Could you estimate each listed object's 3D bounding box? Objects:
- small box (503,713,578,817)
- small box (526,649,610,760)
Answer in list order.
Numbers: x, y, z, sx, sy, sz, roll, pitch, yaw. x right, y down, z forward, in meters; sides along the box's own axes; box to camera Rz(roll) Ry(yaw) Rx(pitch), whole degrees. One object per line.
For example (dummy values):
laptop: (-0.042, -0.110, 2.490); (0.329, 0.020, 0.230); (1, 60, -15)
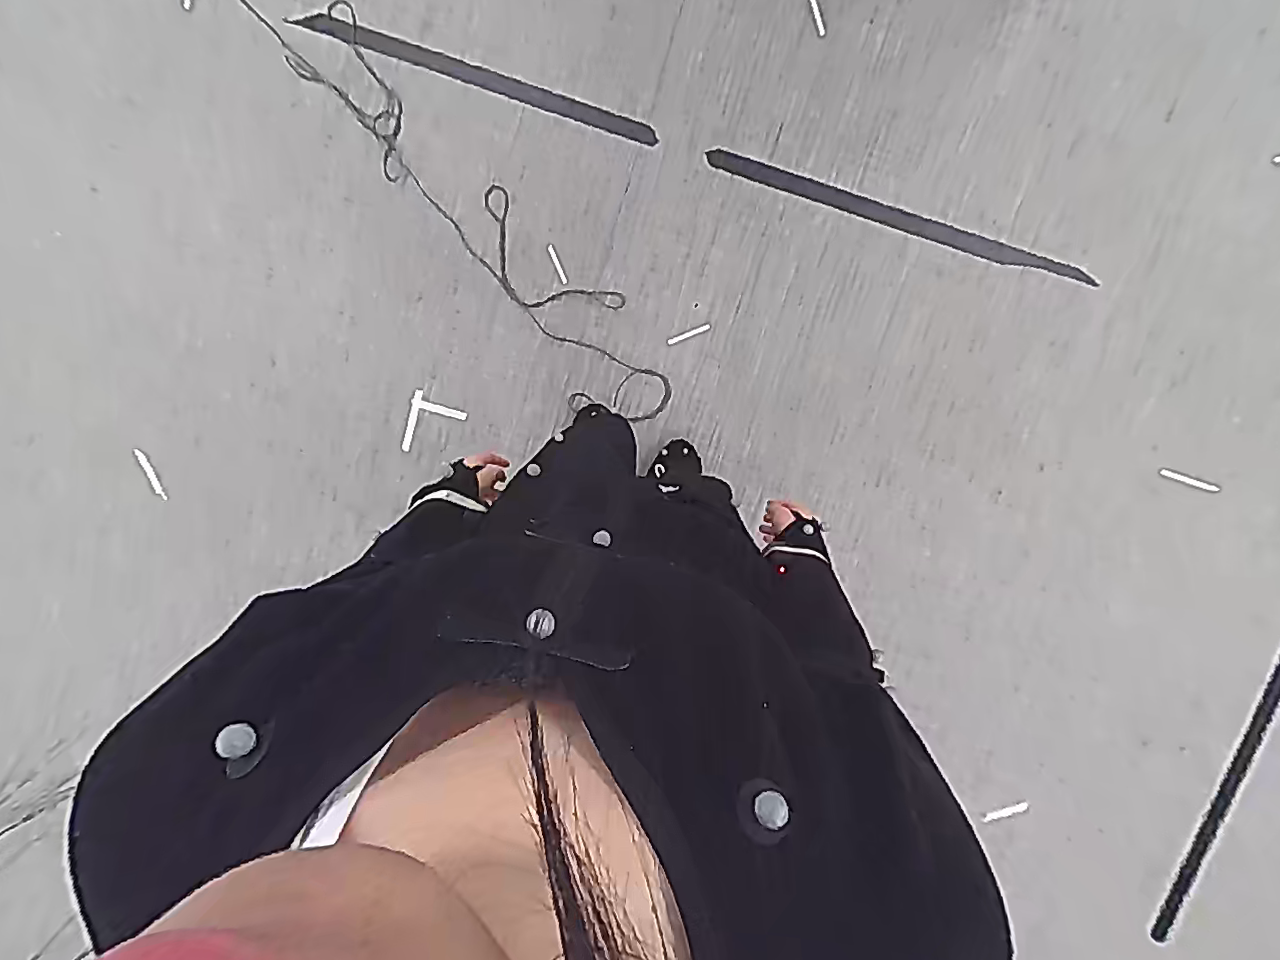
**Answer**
small box: (-0.256, 0.759, 1.457); (0.168, 0.176, 0.179); (9, 95, 1)
small box: (-0.162, 0.518, 1.266); (0.168, 0.176, 0.179); (5, 95, 0)
